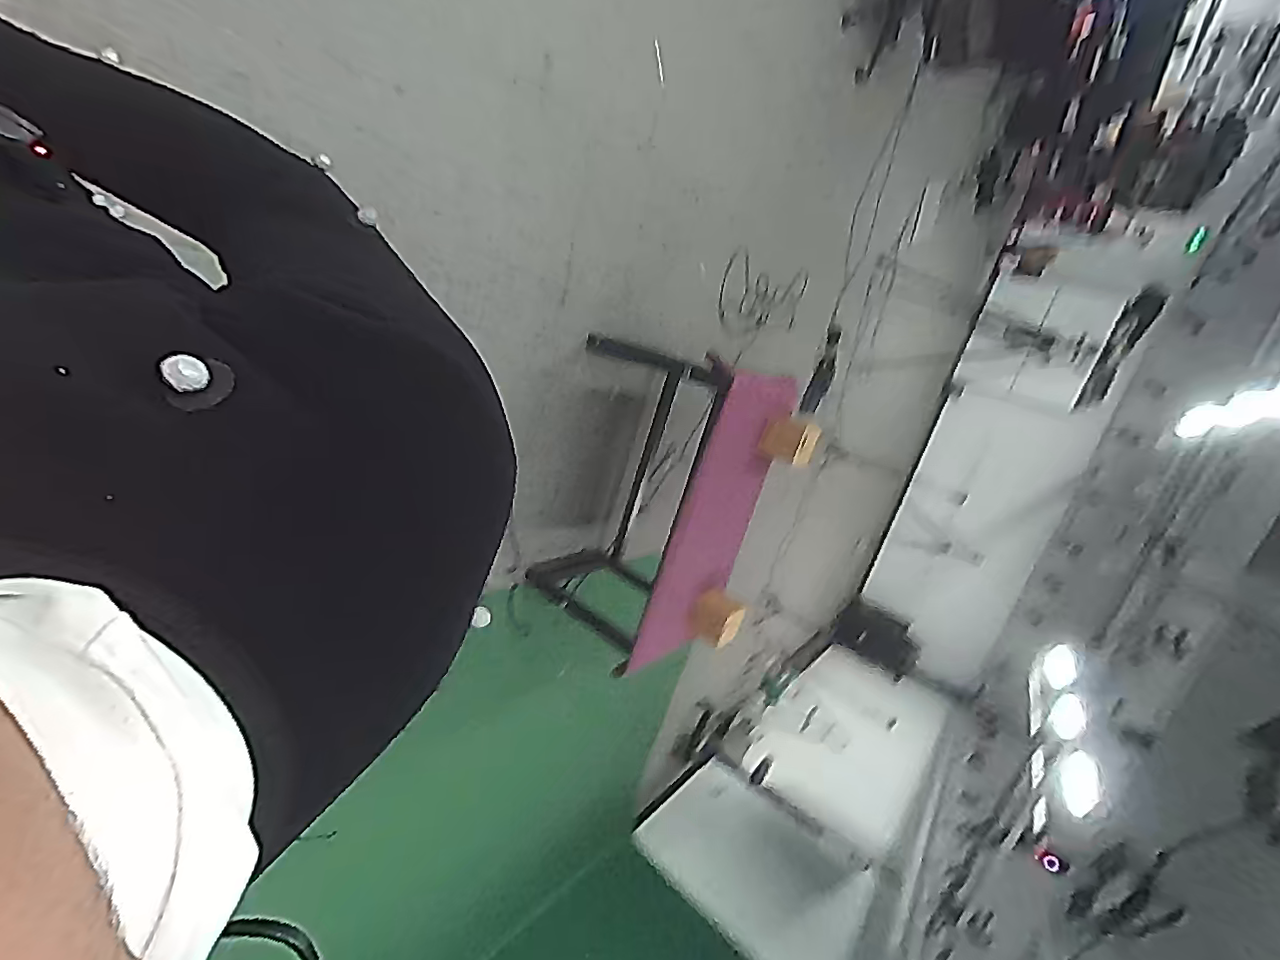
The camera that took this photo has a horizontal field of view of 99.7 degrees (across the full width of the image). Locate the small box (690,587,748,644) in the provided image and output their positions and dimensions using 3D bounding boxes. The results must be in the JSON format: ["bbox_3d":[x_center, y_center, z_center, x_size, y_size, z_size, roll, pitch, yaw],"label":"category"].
[{"bbox_3d":[0.351,0.595,2.404,0.179,0.176,0.168,-4,114,-54],"label":"small box"}]

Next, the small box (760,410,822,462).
[{"bbox_3d":[0.621,-0.184,2.242,0.179,0.176,0.168,1,112,-54],"label":"small box"}]
